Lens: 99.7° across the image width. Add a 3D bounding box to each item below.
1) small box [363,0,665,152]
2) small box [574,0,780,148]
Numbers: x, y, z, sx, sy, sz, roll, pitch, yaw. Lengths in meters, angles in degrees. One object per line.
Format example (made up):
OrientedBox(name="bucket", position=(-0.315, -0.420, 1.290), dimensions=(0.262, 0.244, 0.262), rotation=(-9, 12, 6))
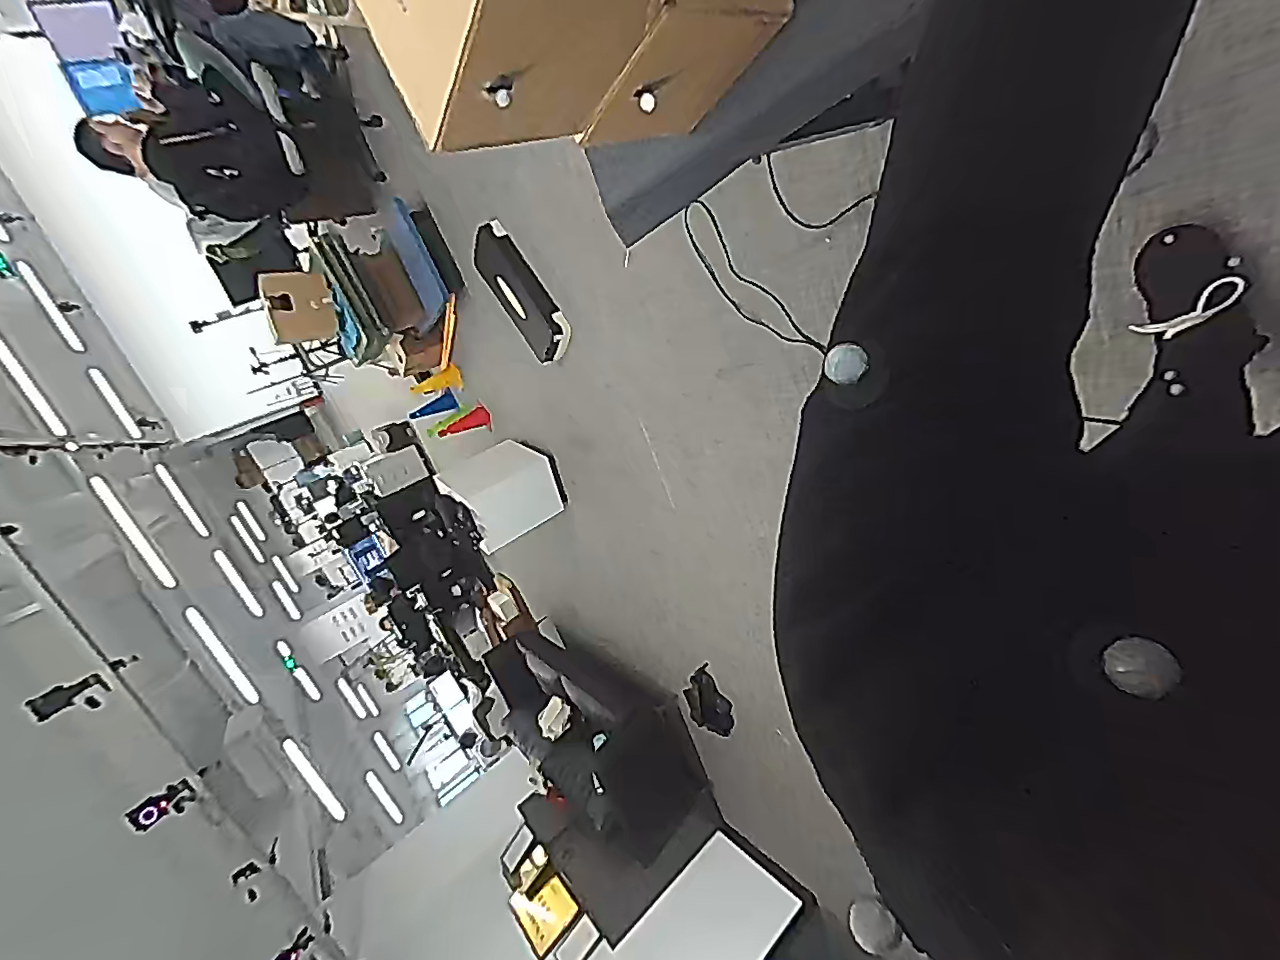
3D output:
OrientedBox(name="small box", position=(-0.106, -0.398, 0.426), dimensions=(0.179, 0.176, 0.168), rotation=(-11, 107, 58))
OrientedBox(name="small box", position=(0.010, -0.463, 0.521), dimensions=(0.179, 0.176, 0.168), rotation=(-11, 106, 60))
